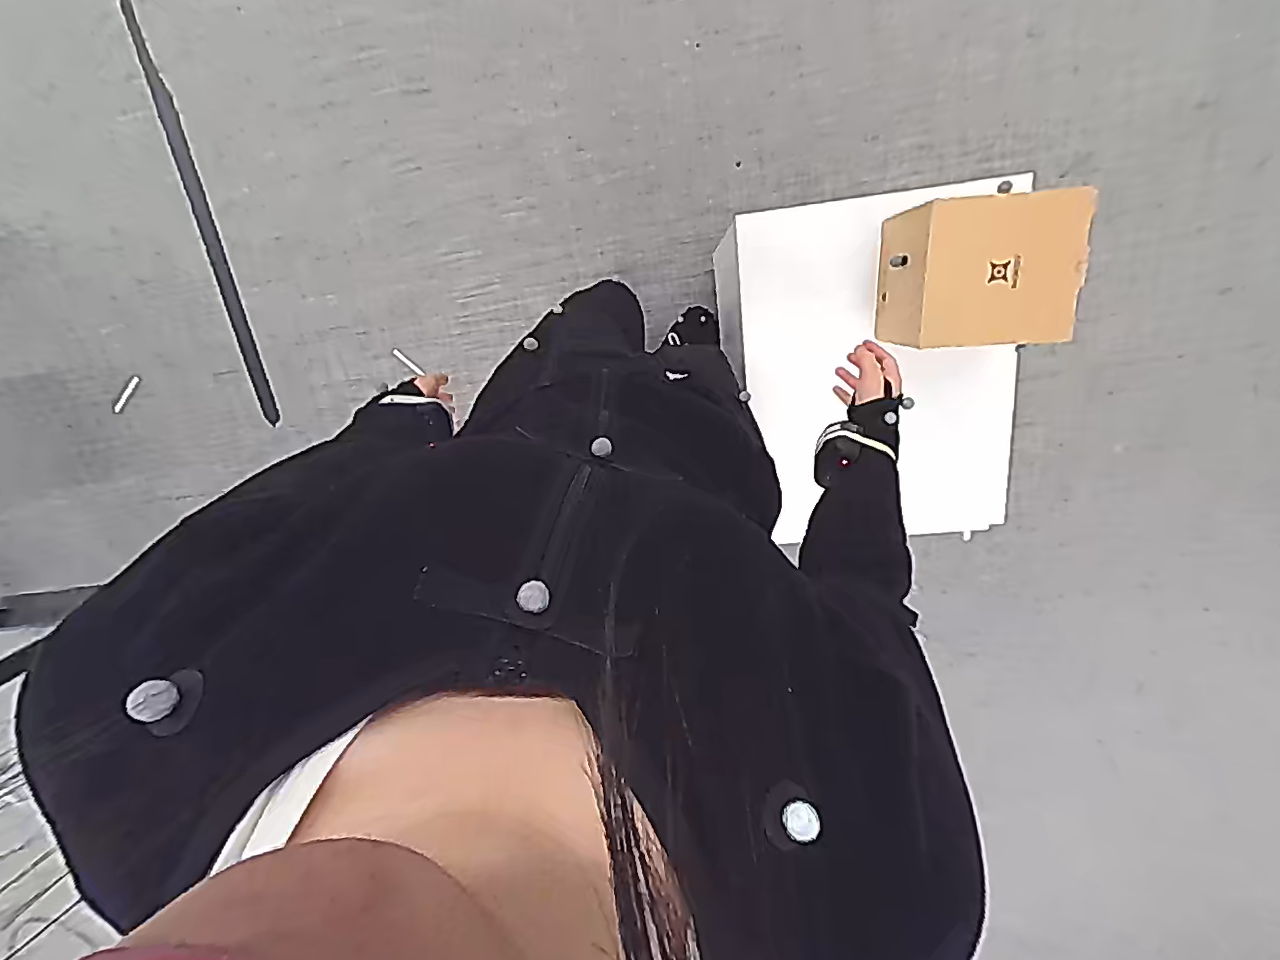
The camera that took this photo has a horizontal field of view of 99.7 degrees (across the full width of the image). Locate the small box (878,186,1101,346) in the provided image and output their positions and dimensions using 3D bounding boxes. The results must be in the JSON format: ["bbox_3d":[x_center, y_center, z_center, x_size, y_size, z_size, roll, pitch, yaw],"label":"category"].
[{"bbox_3d":[0.420,-0.261,0.688,0.179,0.176,0.168,-2,108,5],"label":"small box"}]
